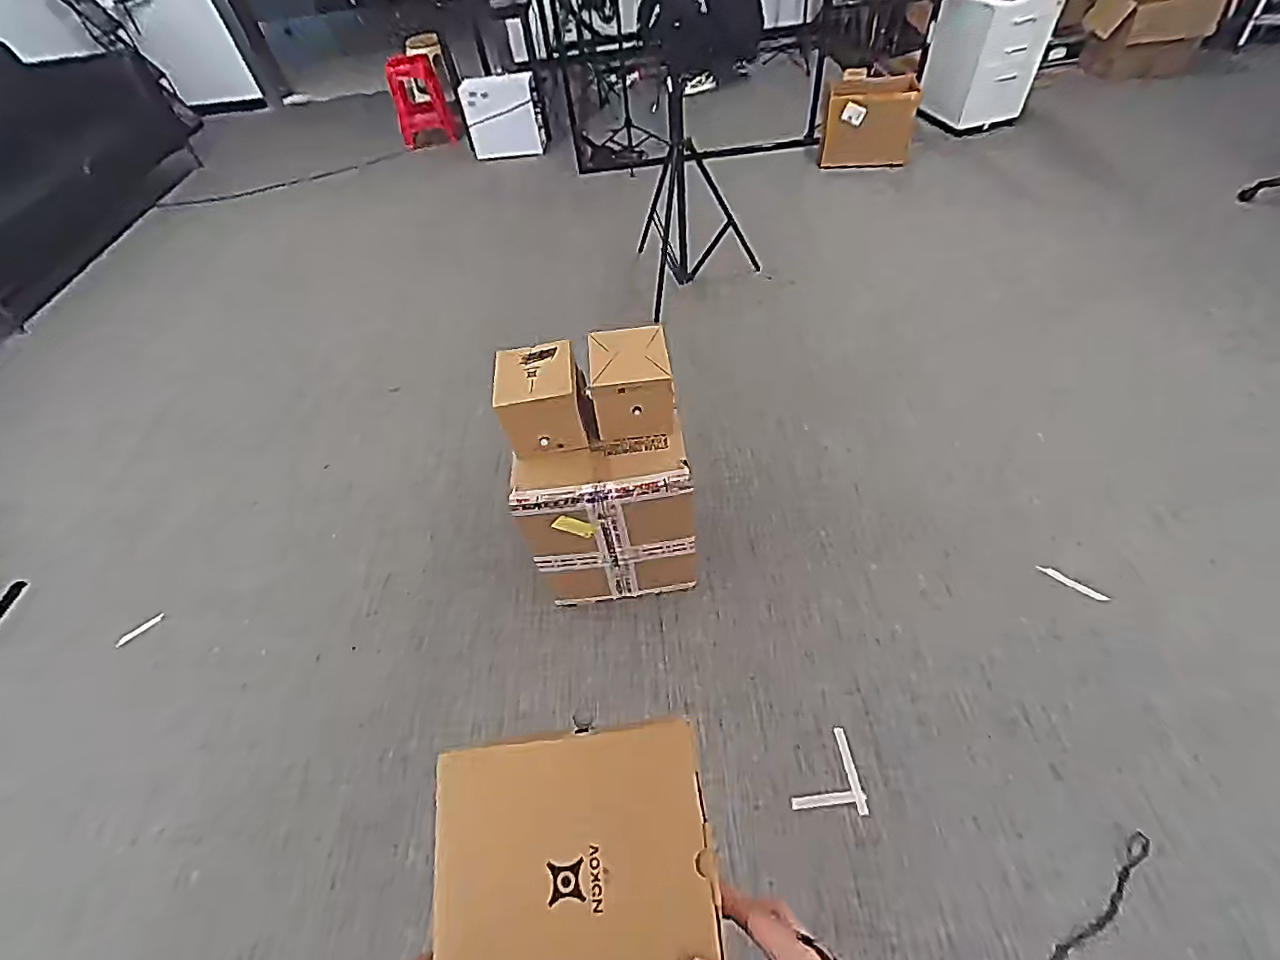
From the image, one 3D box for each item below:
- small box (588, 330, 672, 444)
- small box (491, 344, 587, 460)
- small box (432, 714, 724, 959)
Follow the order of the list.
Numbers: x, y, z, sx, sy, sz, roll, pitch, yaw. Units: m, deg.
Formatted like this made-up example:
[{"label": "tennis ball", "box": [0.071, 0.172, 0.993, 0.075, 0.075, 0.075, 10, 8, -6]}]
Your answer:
[{"label": "small box", "box": [-0.023, -0.206, 1.196, 0.168, 0.176, 0.179, -6, 52, -2]}, {"label": "small box", "box": [-0.216, -0.169, 1.193, 0.168, 0.176, 0.179, -10, 52, 2]}, {"label": "small box", "box": [-0.039, 0.277, 0.410, 0.179, 0.176, 0.168, -7, 67, -2]}]
